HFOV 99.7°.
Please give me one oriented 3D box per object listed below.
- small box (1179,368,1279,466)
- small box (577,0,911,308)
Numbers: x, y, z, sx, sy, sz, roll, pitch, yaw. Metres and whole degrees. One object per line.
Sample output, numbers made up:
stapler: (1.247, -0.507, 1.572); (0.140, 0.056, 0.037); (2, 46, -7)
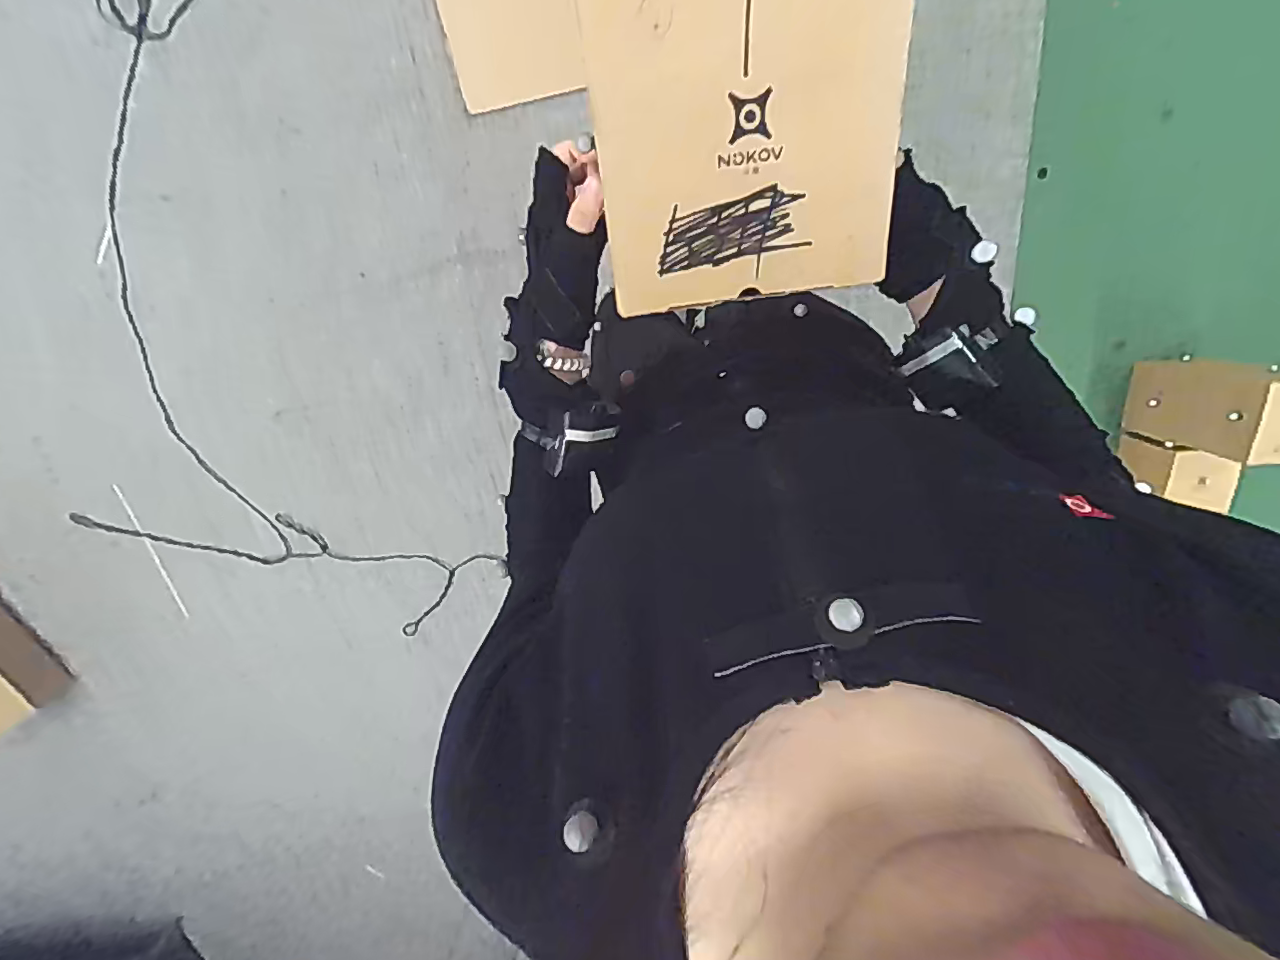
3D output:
small box: (1.334, -0.142, 1.166); (0.168, 0.176, 0.179); (-4, 111, 4)
small box: (0.055, -0.231, 0.360); (0.168, 0.176, 0.179); (-7, 121, 1)
